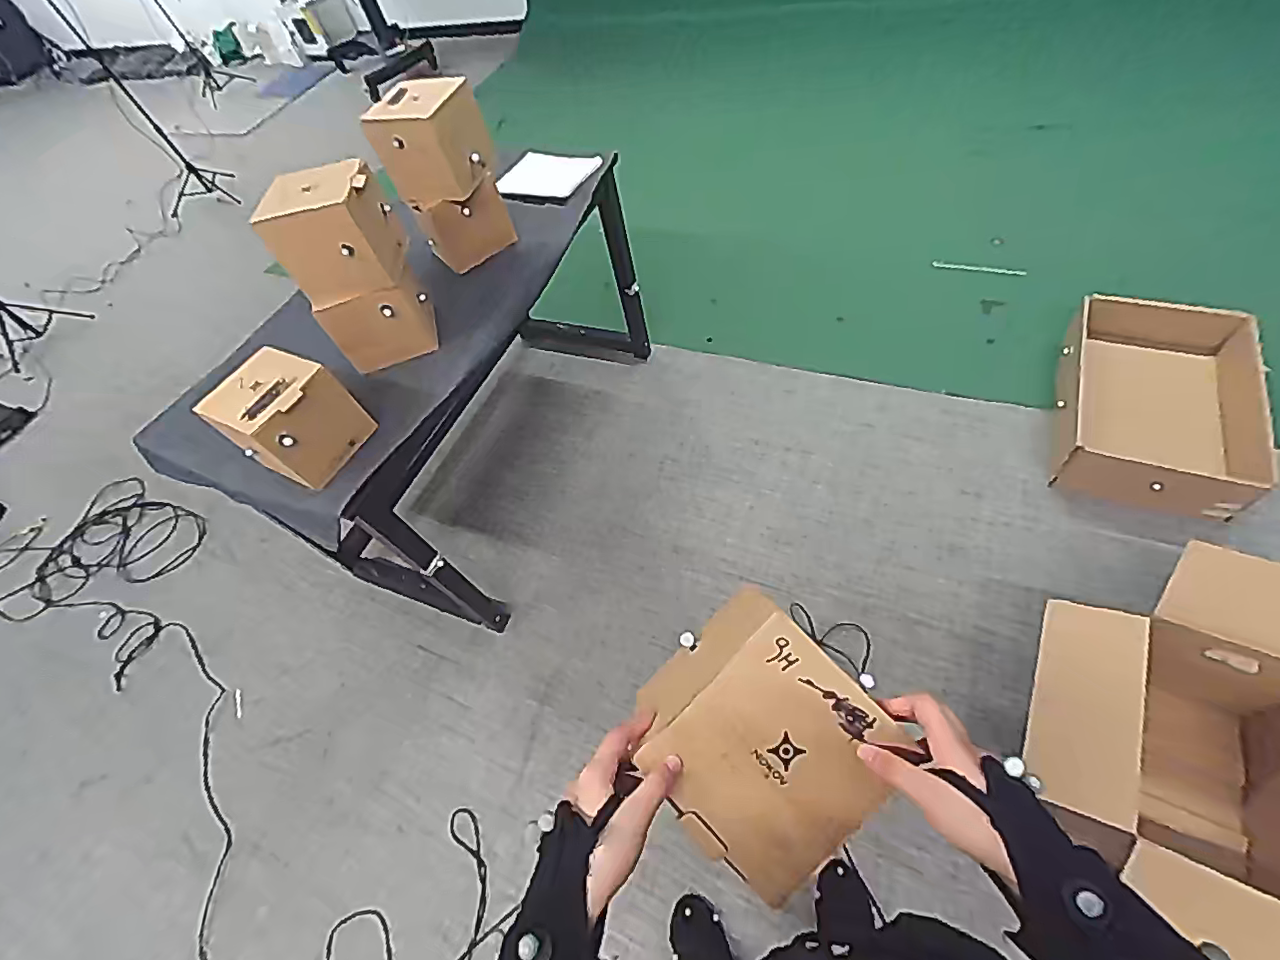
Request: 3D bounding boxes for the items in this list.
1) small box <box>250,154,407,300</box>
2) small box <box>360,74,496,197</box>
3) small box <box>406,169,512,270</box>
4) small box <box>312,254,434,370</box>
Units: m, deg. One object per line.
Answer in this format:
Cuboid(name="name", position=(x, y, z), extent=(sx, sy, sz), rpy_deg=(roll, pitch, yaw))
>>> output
Cuboid(name="small box", position=(-0.561, -0.463, 1.004), extent=(0.179, 0.176, 0.168), rpy_deg=(-10, 54, 5))
Cuboid(name="small box", position=(-0.442, -0.729, 1.154), extent=(0.179, 0.176, 0.168), rpy_deg=(11, 61, 18))
Cuboid(name="small box", position=(-0.429, -0.642, 1.294), extent=(0.179, 0.176, 0.168), rpy_deg=(-38, 58, -12))
Cuboid(name="small box", position=(-0.548, -0.363, 1.133), extent=(0.179, 0.176, 0.168), rpy_deg=(-20, 55, -2))
